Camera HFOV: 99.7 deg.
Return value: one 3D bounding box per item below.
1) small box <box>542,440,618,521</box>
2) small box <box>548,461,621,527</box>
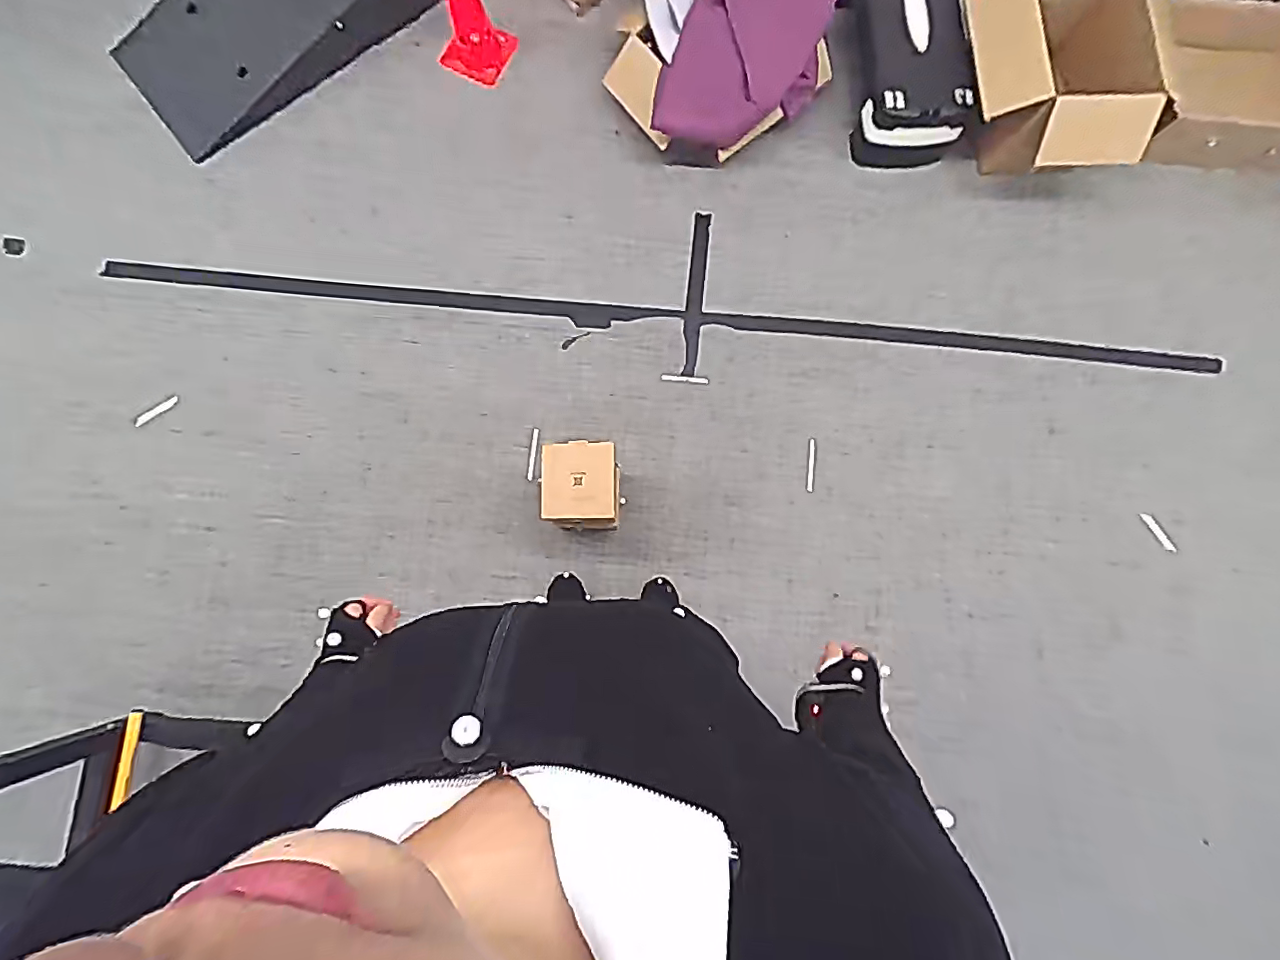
[{"bbox_3d":[-0.140,0.006,1.294,0.168,0.176,0.179,-1,83,0],"label":"small box"},{"bbox_3d":[-0.144,0.039,1.453,0.179,0.176,0.168,3,82,-1],"label":"small box"}]
